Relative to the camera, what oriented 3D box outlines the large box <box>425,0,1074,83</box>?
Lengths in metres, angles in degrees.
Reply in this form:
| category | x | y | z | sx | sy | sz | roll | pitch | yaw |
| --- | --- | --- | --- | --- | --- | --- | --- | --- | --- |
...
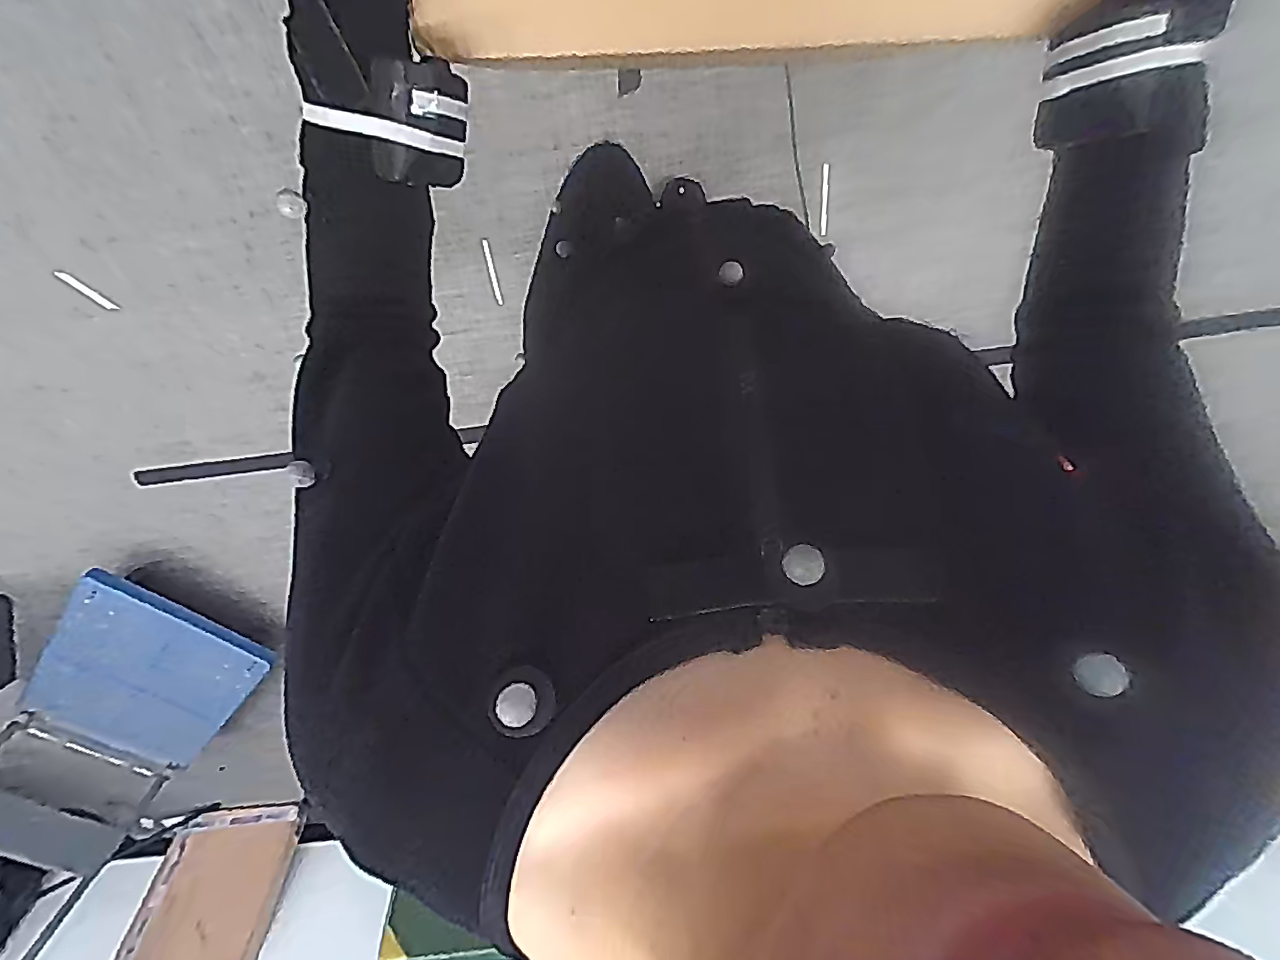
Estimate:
| category | x | y | z | sx | sy | sz | roll | pitch | yaw |
| --- | --- | --- | --- | --- | --- | --- | --- | --- | --- |
| large box | 0.056 | -0.482 | 0.373 | 0.408 | 0.320 | 0.320 | -3 | 125 | 0 |
